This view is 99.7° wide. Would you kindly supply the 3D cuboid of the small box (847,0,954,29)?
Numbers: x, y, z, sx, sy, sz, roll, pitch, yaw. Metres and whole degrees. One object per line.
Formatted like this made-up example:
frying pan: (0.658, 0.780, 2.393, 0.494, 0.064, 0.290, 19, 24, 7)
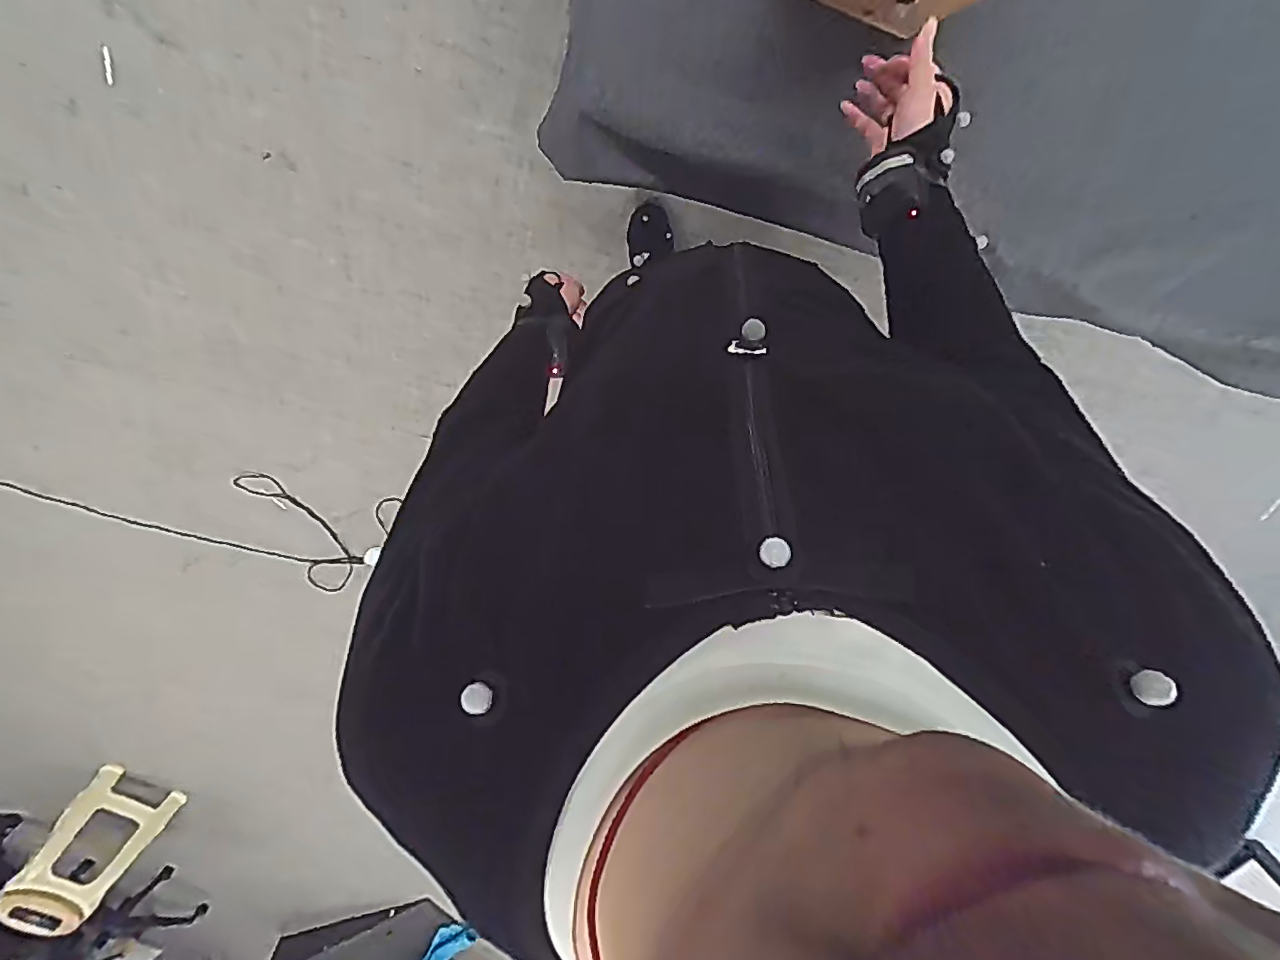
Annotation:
small box: (0.252, -0.551, 0.482, 0.168, 0.176, 0.179, 15, 115, -11)
